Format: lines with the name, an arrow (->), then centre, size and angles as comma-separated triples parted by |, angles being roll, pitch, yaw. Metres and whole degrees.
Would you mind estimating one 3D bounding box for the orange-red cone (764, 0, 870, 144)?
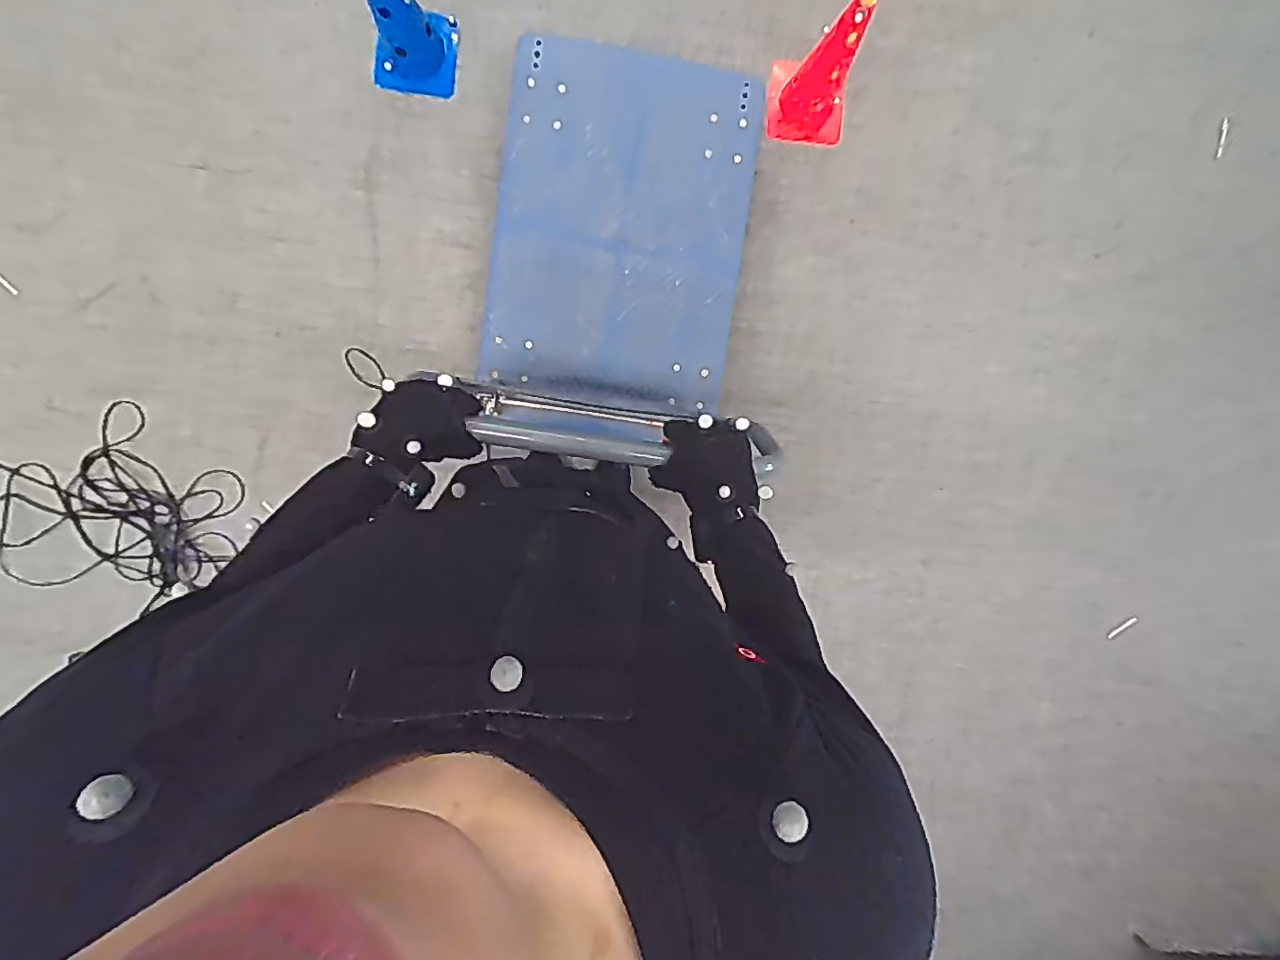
orange-red cone -> 0.440, -0.990, 1.267 | 0.199, 0.360, 0.198 | 6, 94, -2
